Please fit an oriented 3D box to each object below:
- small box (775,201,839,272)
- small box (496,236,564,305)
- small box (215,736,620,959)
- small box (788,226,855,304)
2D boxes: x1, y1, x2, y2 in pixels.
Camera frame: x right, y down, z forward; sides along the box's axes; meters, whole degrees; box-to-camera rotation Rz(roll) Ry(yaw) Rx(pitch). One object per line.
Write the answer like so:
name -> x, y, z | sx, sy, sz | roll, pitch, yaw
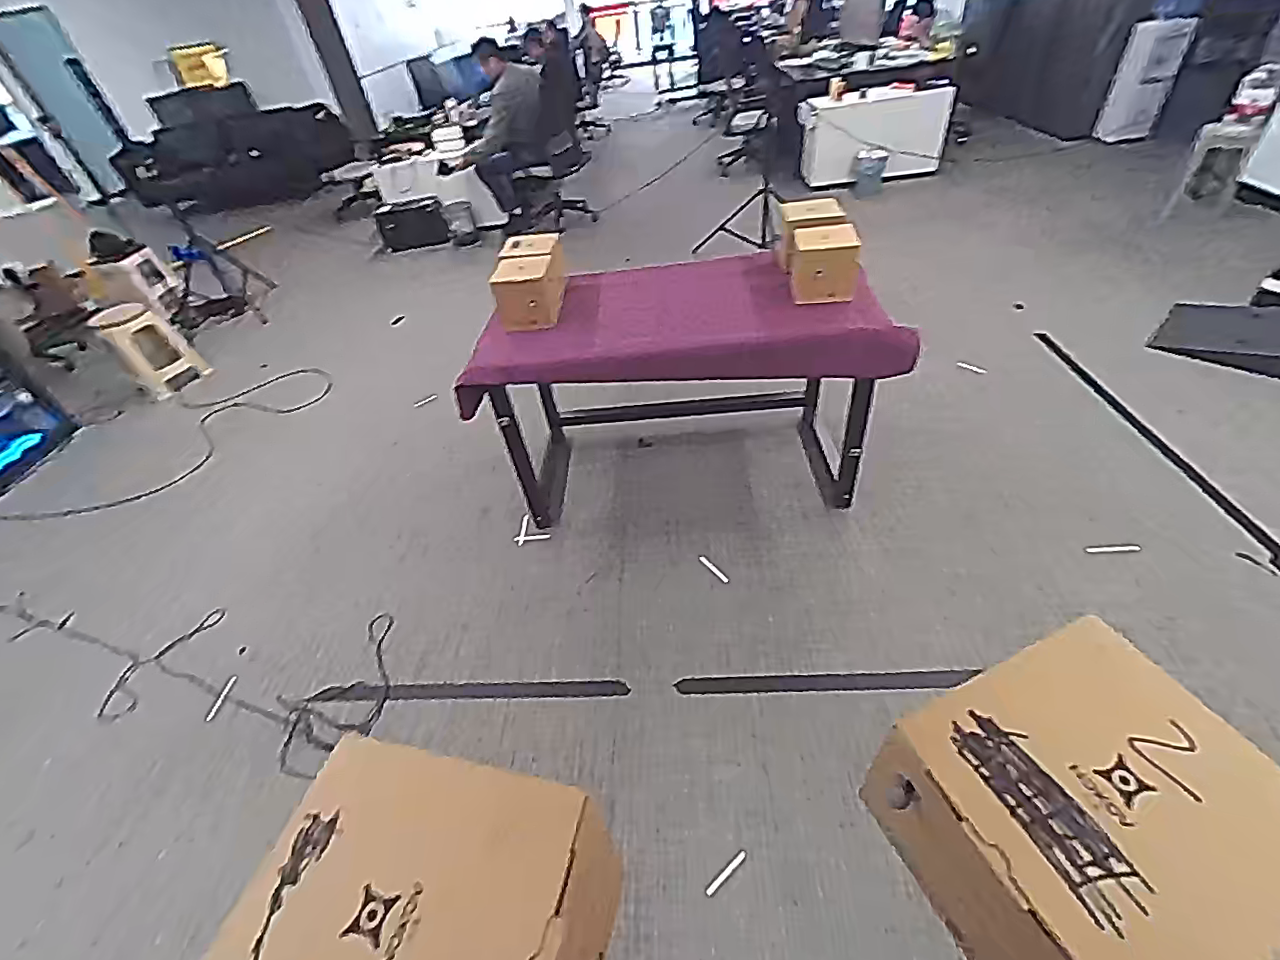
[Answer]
small box -> 0.544, -0.801, 1.788 | 0.179, 0.176, 0.168 | -3, 44, 6
small box -> -0.372, -0.717, 1.860 | 0.179, 0.176, 0.168 | -2, 45, 6
small box -> -0.119, 0.290, 0.334 | 0.179, 0.176, 0.168 | 6, 43, 13
small box -> 0.541, -0.643, 1.630 | 0.168, 0.176, 0.179 | -2, 42, 10
